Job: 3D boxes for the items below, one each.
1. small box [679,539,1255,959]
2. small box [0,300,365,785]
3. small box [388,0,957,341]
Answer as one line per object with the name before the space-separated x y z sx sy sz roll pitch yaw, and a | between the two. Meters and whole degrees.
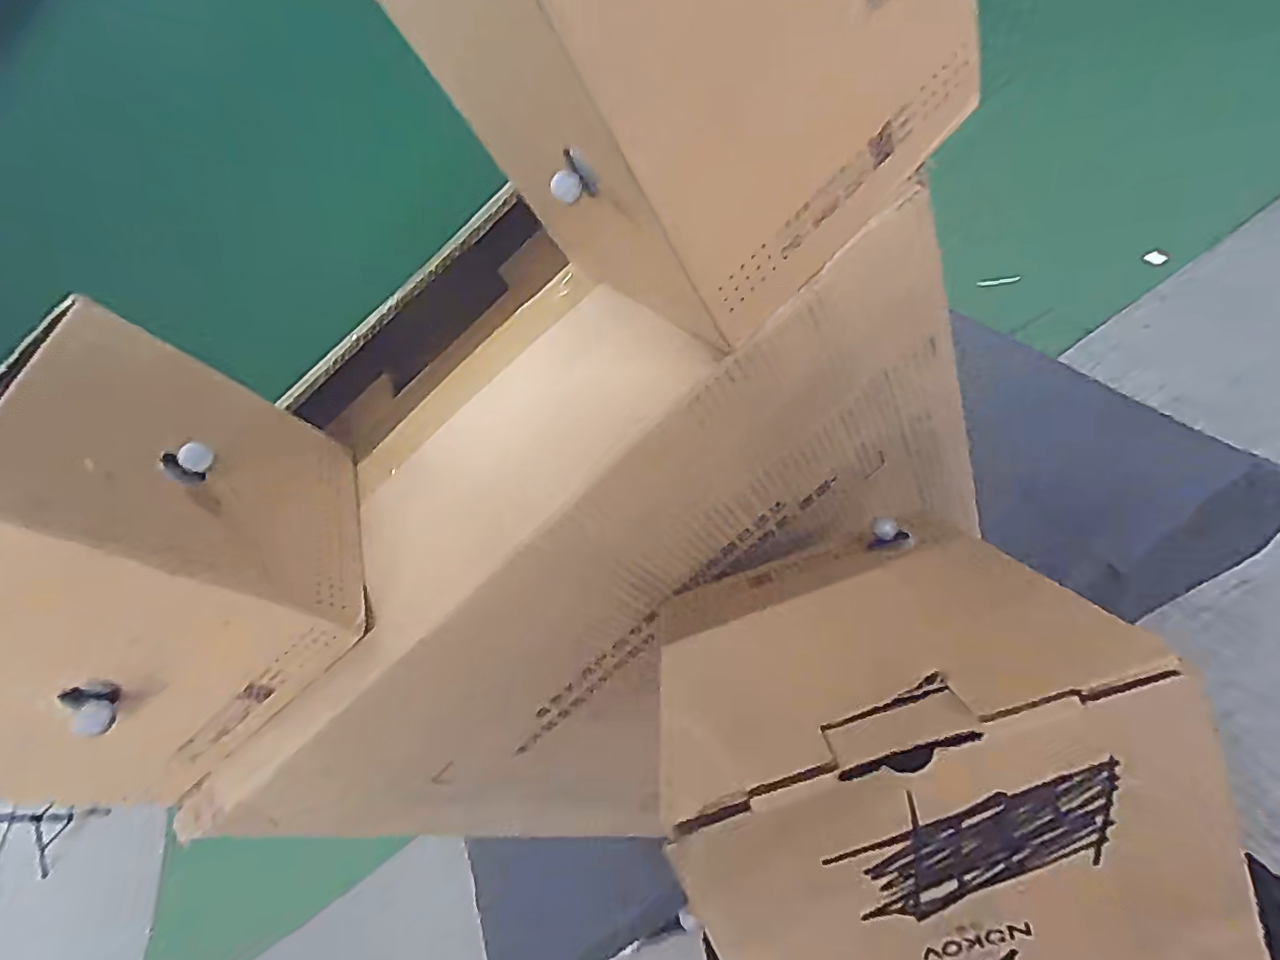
small box | 0.122 0.143 0.265 0.168 0.179 0.176 -21 10 8
small box | -0.279 0.043 0.300 0.168 0.176 0.179 -40 47 6
small box | 0.020 -0.194 0.257 0.168 0.176 0.179 -44 46 -2
